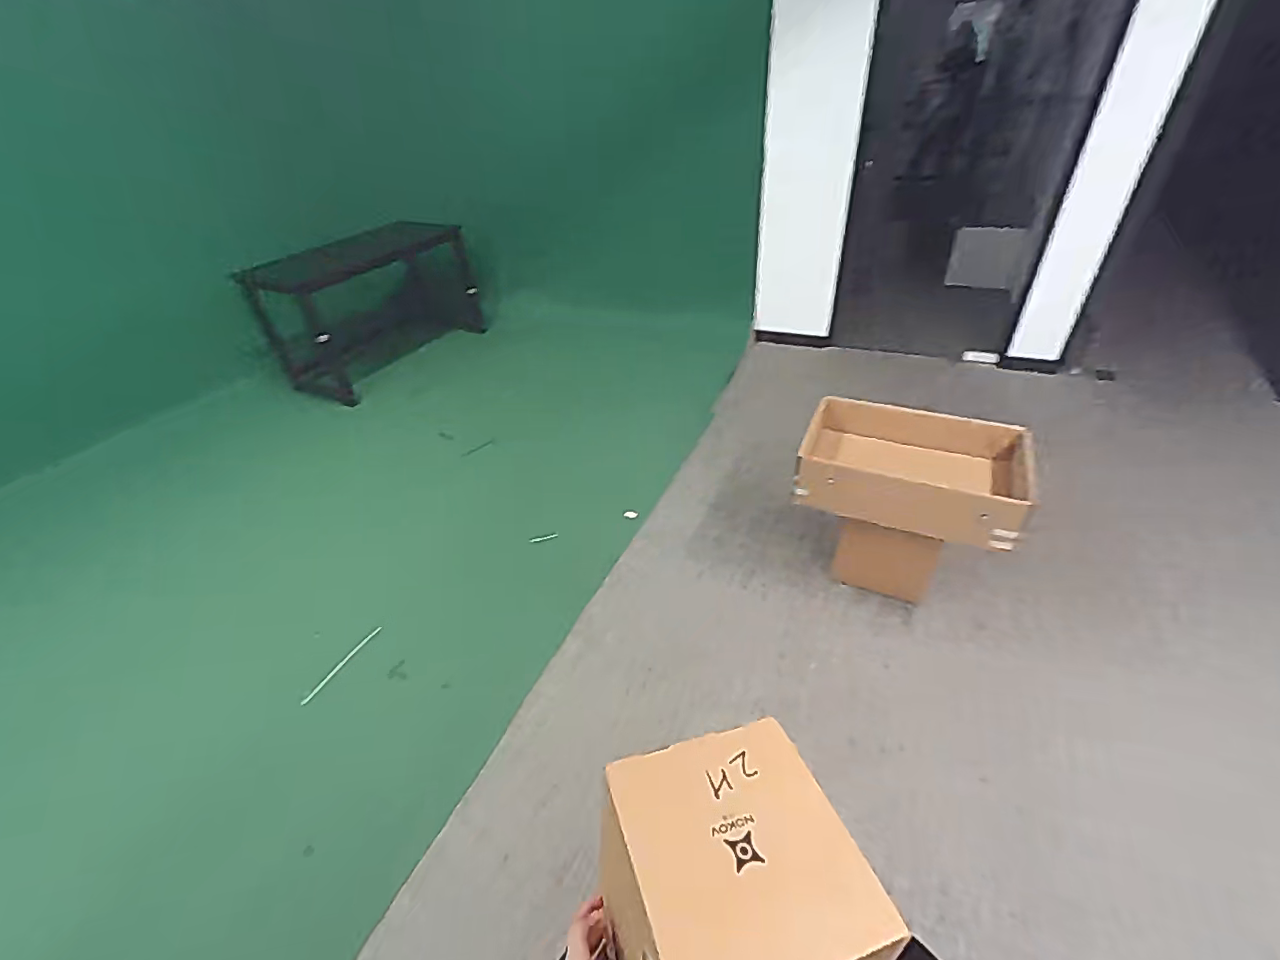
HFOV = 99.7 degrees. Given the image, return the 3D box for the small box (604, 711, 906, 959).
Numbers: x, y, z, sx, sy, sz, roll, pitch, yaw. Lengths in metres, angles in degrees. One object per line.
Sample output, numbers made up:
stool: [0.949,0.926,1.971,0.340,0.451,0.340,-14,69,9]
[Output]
small box: [0.070,0.329,0.436,0.168,0.176,0.179,-6,30,-16]
